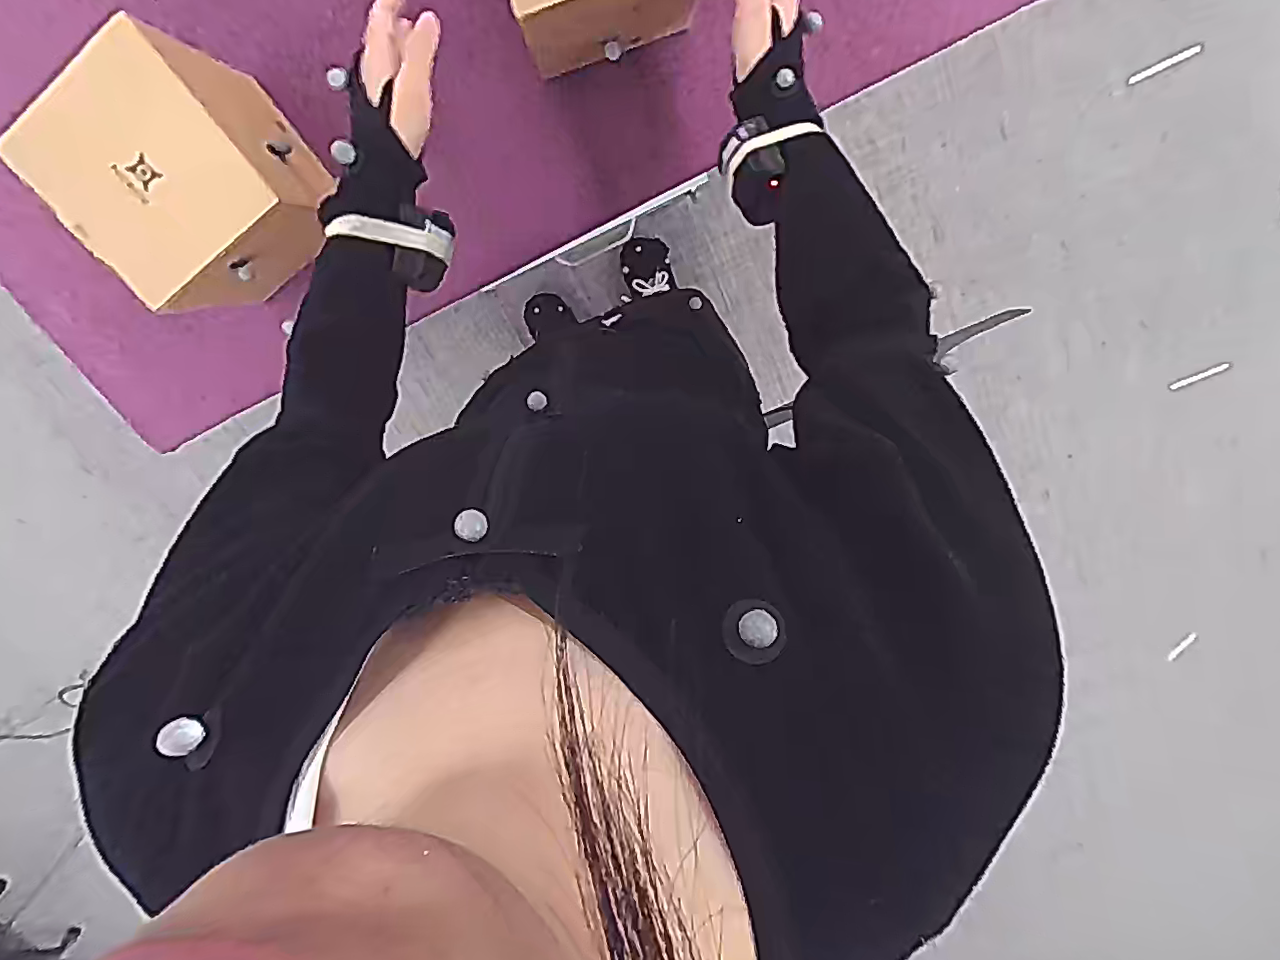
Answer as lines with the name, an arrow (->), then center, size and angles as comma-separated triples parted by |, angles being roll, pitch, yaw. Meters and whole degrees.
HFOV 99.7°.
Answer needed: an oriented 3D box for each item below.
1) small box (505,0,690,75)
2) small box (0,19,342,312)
small box -> -0.052, -0.501, 0.473 | 0.168, 0.176, 0.179 | -16, 113, 5
small box -> -0.441, -0.298, 0.548 | 0.179, 0.176, 0.168 | -32, 110, 11
